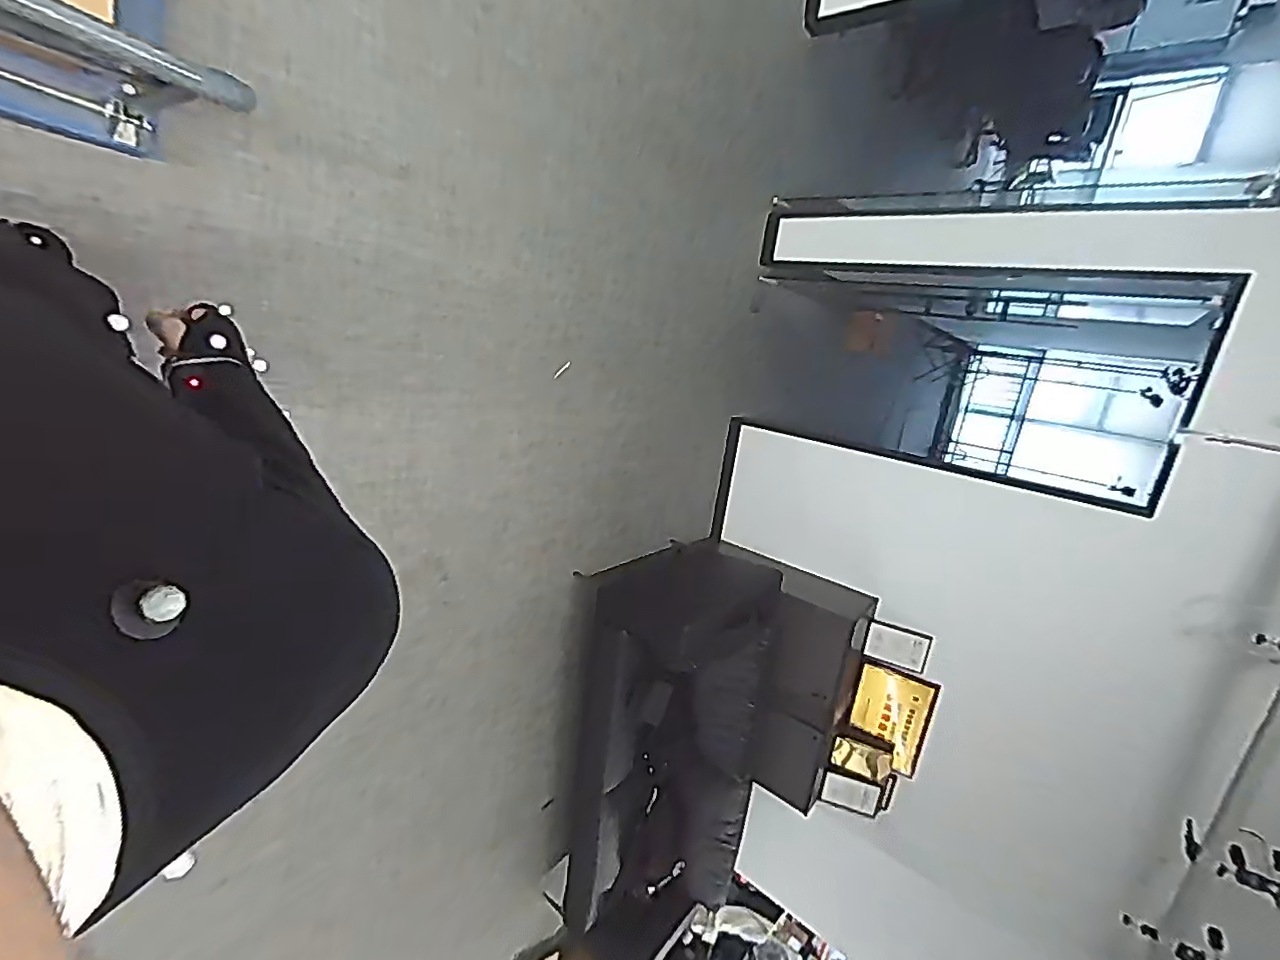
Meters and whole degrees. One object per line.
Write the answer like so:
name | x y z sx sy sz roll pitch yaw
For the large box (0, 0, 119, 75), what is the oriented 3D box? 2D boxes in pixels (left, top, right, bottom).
large box | -0.923 -0.848 0.700 0.320 0.320 0.408 -5 107 -53
